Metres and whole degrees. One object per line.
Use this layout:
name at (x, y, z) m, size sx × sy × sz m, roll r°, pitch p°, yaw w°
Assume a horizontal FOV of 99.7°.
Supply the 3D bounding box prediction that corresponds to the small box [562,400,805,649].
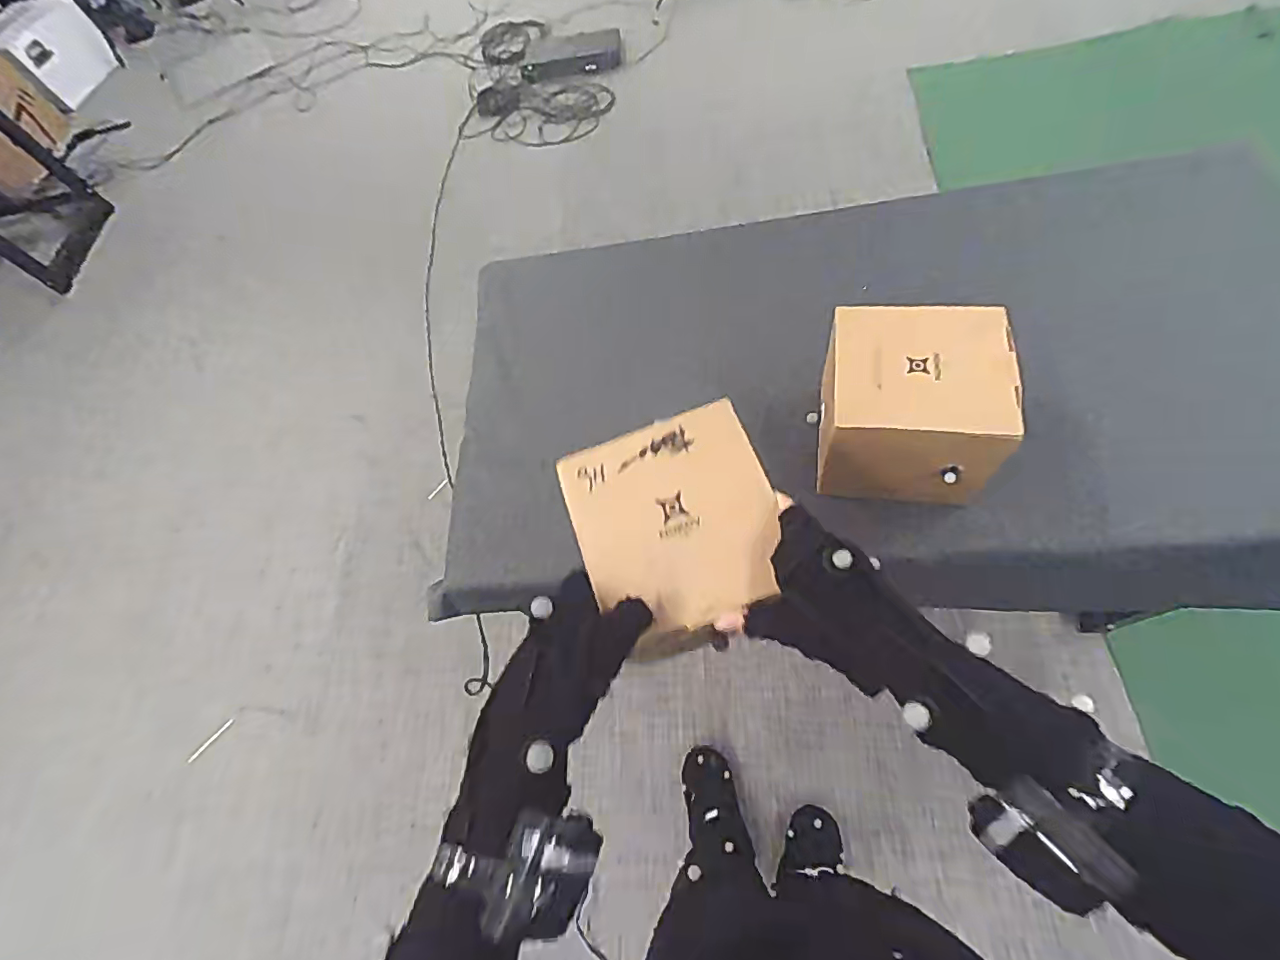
small box at (0.041, 0.056, 0.526) m, size 0.168 × 0.176 × 0.179 m, roll -19°, pitch 68°, yaw 1°
